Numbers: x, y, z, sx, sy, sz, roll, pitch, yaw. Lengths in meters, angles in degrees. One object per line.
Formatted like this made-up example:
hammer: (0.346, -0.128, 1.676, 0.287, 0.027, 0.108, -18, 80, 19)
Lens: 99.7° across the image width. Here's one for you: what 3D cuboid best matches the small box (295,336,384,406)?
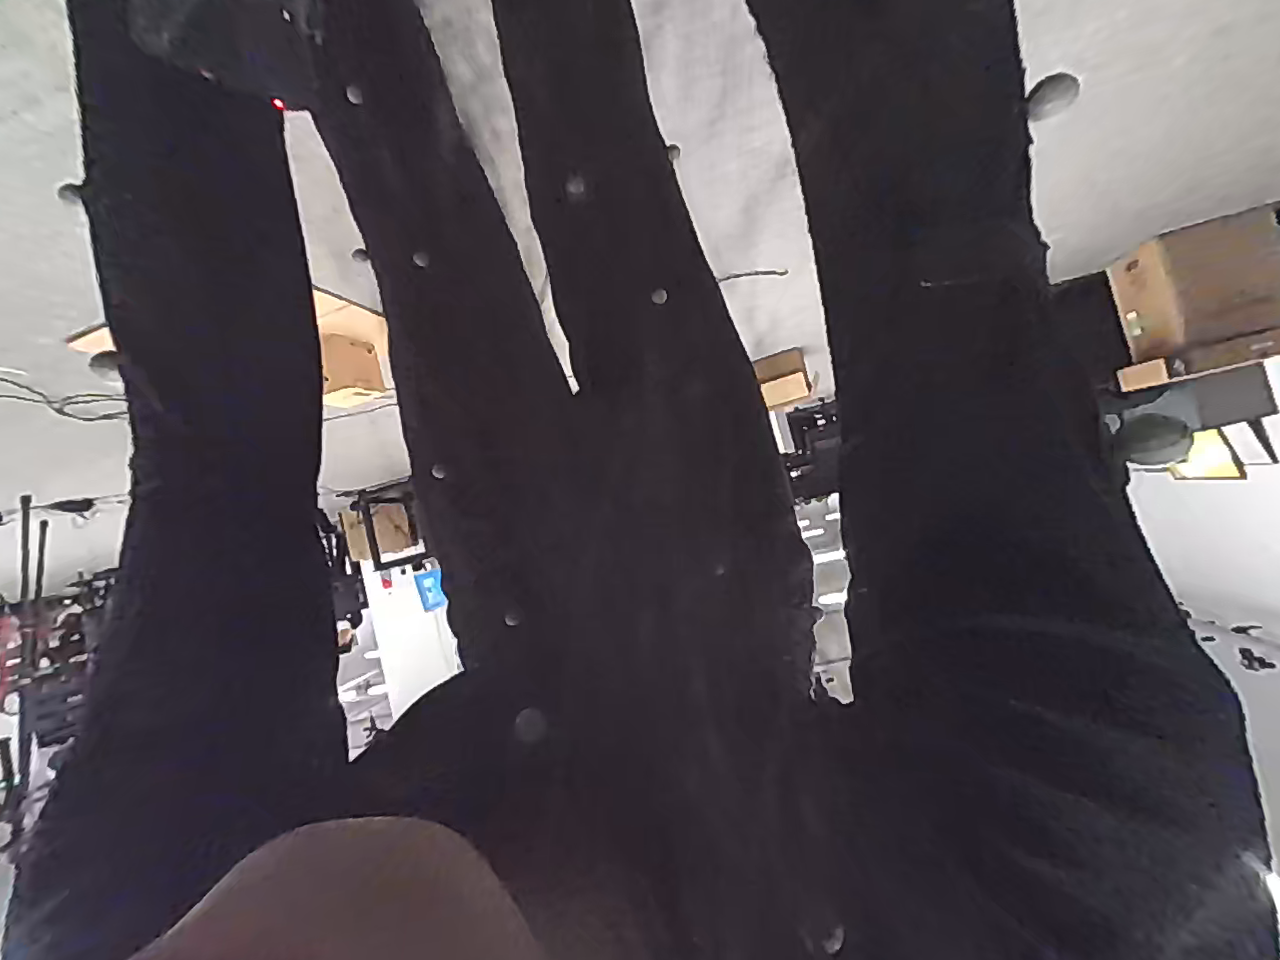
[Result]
small box: (-0.959, -0.346, 1.724, 0.179, 0.176, 0.168, -14, 178, 15)
